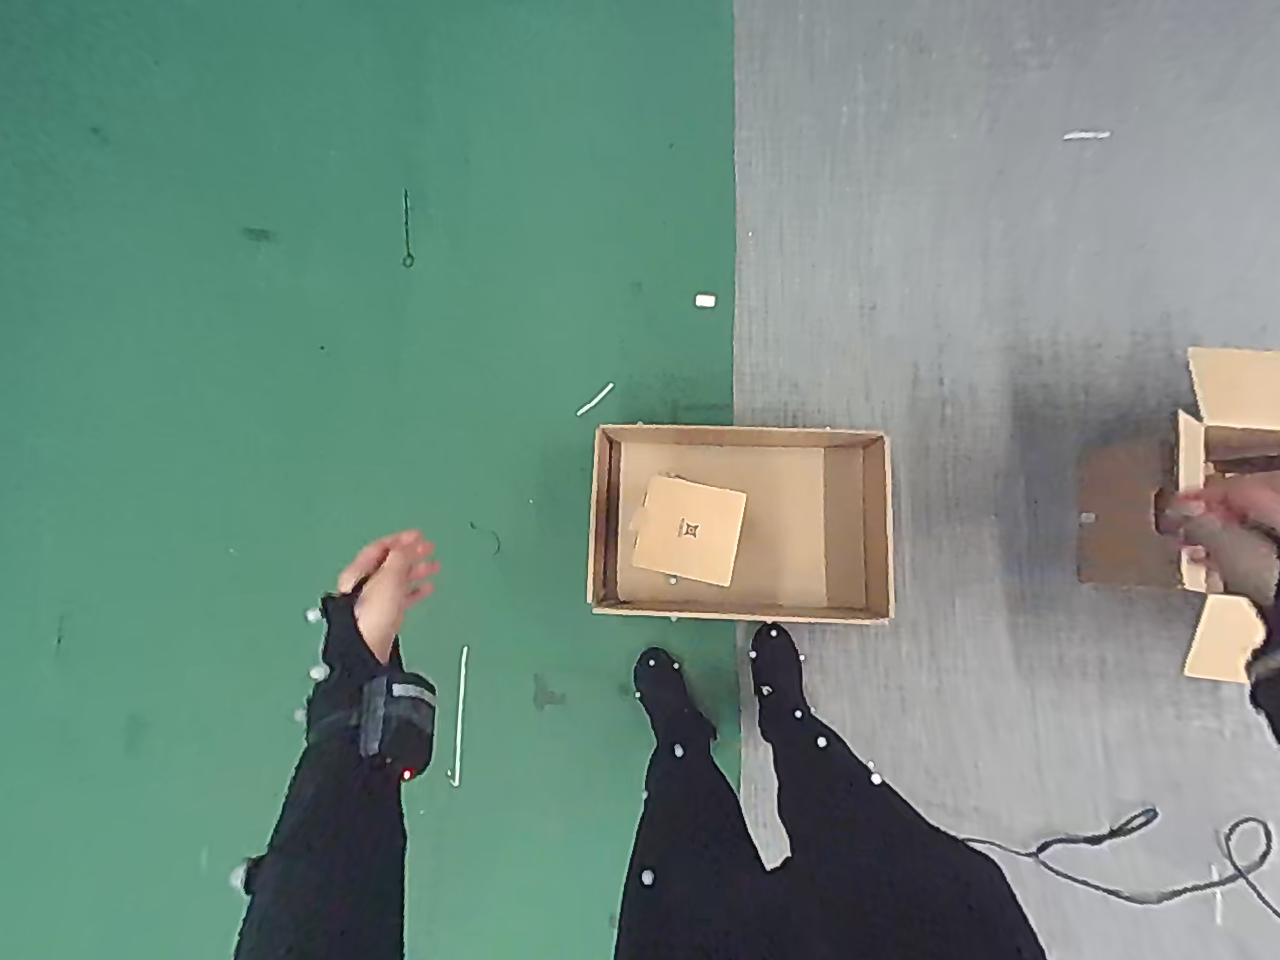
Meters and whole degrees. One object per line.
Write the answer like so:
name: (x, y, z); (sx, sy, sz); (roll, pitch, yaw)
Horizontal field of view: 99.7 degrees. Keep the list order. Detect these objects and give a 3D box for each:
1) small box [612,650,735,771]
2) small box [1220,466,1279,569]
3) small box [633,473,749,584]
small box: (0.078, 0.486, 1.153); (0.176, 0.168, 0.179); (38, 59, -20)
small box: (1.210, 0.075, 0.970); (0.168, 0.176, 0.179); (11, 84, 2)
small box: (0.092, 0.092, 1.012); (0.179, 0.176, 0.168); (11, 82, 4)
